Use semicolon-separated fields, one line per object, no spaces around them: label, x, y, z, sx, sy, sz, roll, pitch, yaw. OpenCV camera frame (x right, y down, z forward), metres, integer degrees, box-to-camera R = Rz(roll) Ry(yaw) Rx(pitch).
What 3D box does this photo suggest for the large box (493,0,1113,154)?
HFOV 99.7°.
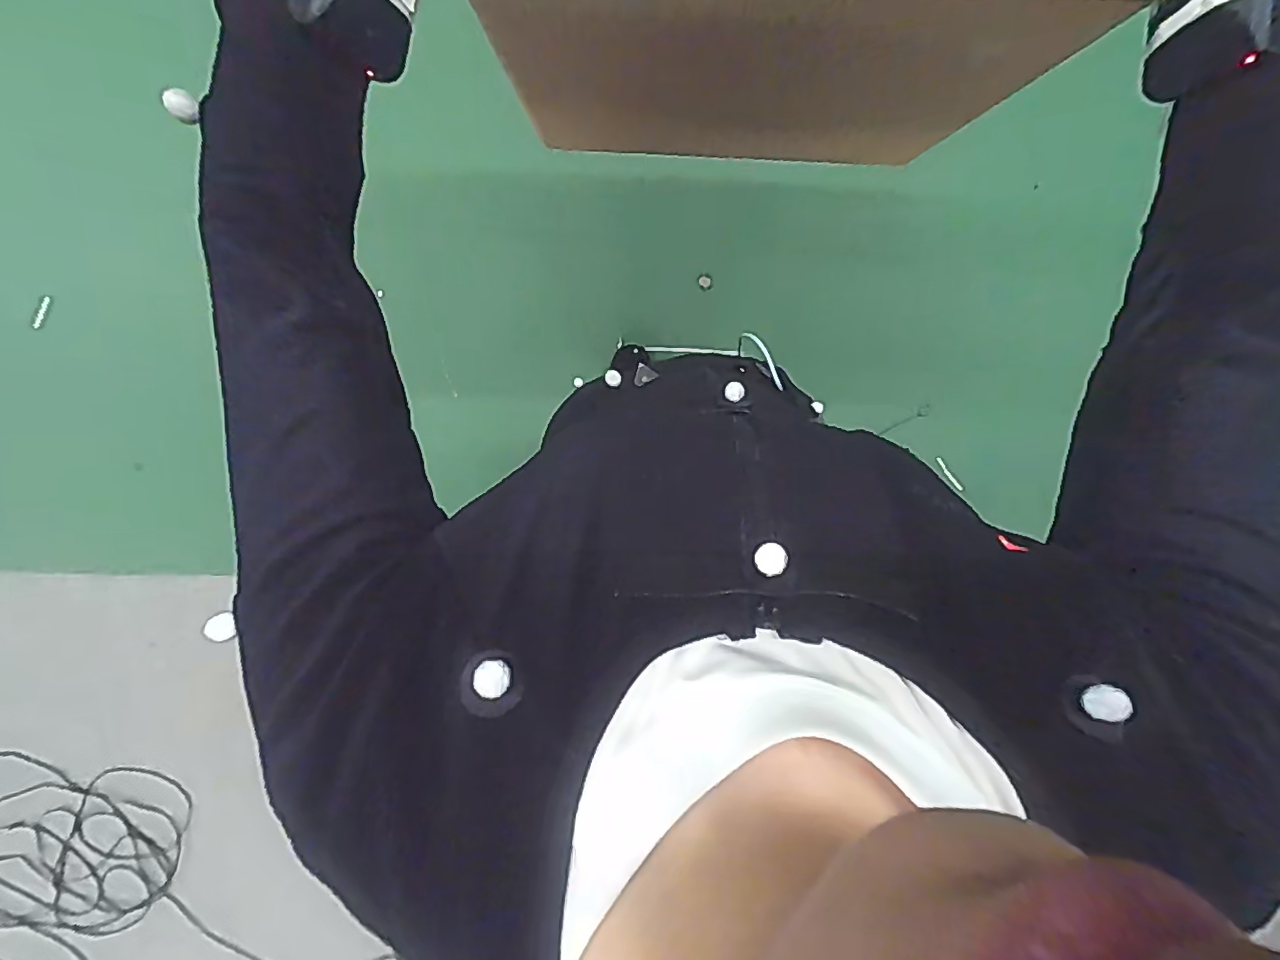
large box;0.101;-0.476;0.420;0.408;0.320;0.320;2;105;-1
